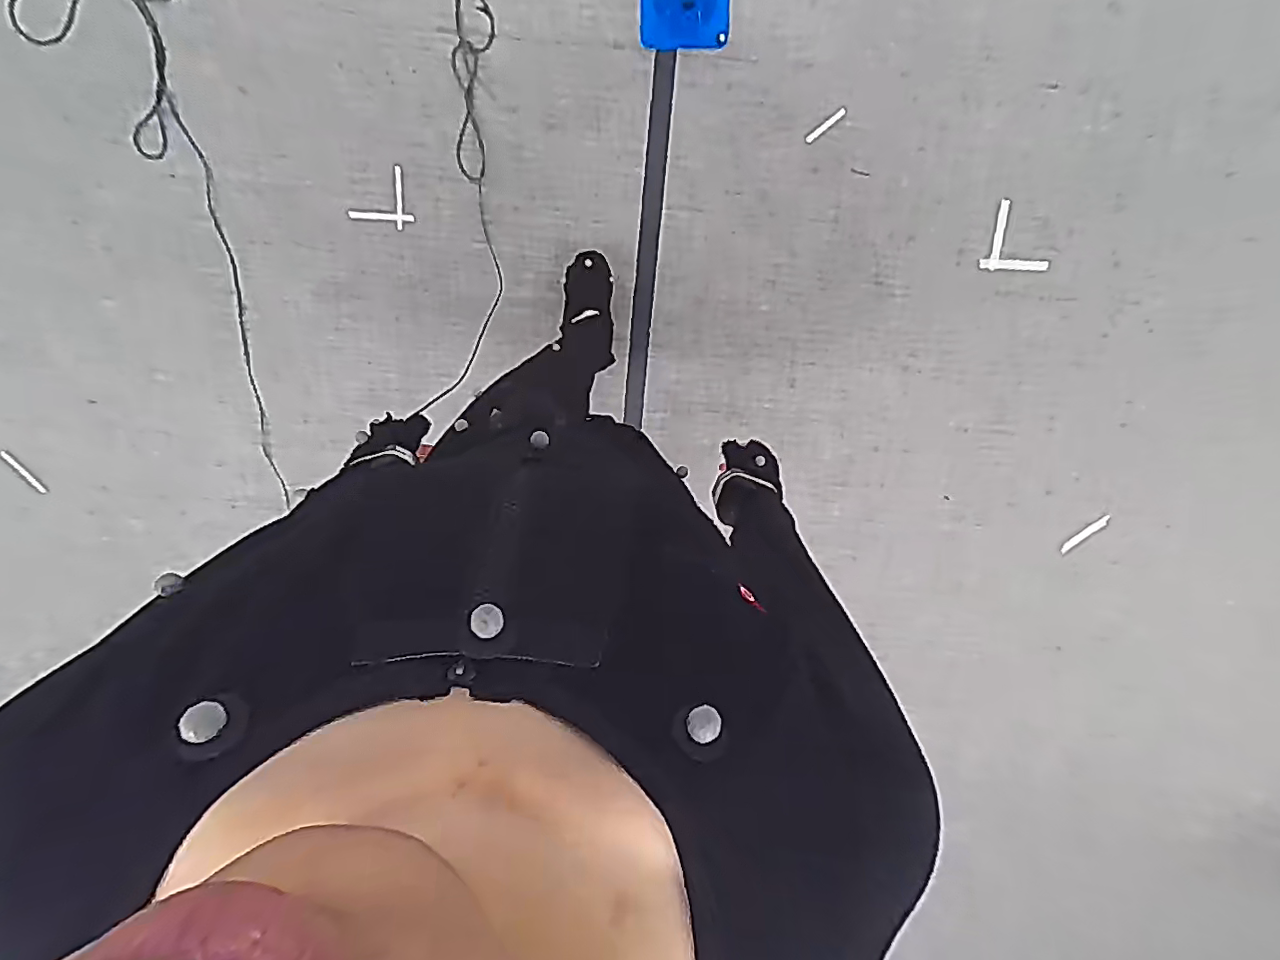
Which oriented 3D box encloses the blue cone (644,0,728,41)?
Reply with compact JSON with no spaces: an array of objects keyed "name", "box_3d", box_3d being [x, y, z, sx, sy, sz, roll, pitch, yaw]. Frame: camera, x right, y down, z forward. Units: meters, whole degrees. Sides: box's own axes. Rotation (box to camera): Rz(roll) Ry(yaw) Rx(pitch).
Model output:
[{"name":"blue cone","box_3d":[0.110,-1.032,1.027,0.192,0.380,0.193,1,105,-2]}]
